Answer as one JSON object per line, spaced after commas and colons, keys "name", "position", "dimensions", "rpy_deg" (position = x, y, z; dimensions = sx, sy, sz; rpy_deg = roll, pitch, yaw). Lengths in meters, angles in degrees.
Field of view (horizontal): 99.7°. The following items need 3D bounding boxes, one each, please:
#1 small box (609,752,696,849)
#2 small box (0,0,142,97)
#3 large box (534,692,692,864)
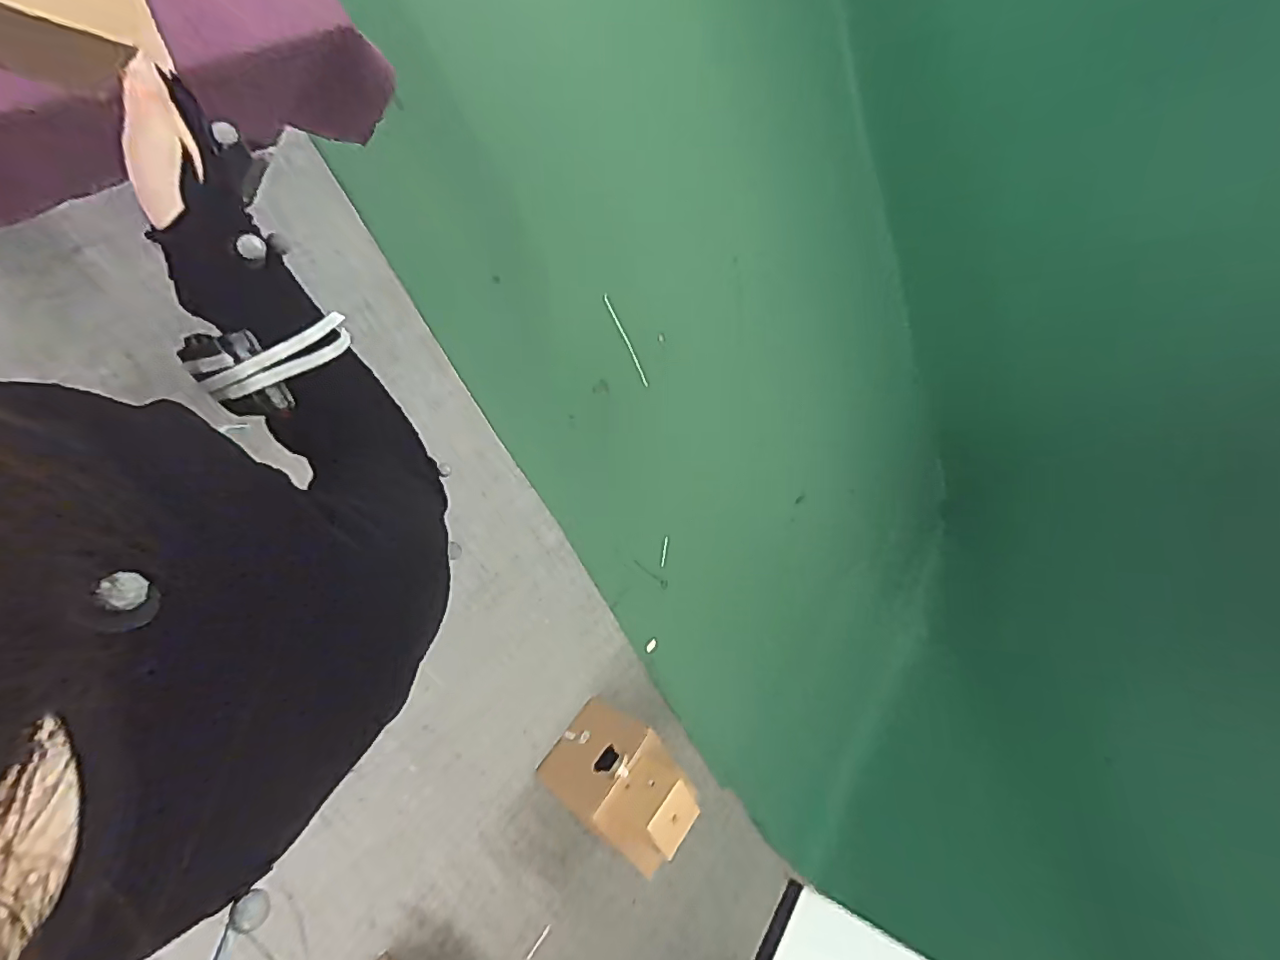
{"name": "small box", "position": [0.035, 0.966, 1.650], "dimensions": [0.168, 0.176, 0.179], "rpy_deg": [-43, 121, -33]}
{"name": "small box", "position": [-0.318, -0.282, 0.210], "dimensions": [0.168, 0.176, 0.179], "rpy_deg": [-9, 115, -46]}
{"name": "large box", "position": [-0.088, 1.017, 1.874], "dimensions": [0.320, 0.320, 0.408], "rpy_deg": [-47, 122, -32]}
